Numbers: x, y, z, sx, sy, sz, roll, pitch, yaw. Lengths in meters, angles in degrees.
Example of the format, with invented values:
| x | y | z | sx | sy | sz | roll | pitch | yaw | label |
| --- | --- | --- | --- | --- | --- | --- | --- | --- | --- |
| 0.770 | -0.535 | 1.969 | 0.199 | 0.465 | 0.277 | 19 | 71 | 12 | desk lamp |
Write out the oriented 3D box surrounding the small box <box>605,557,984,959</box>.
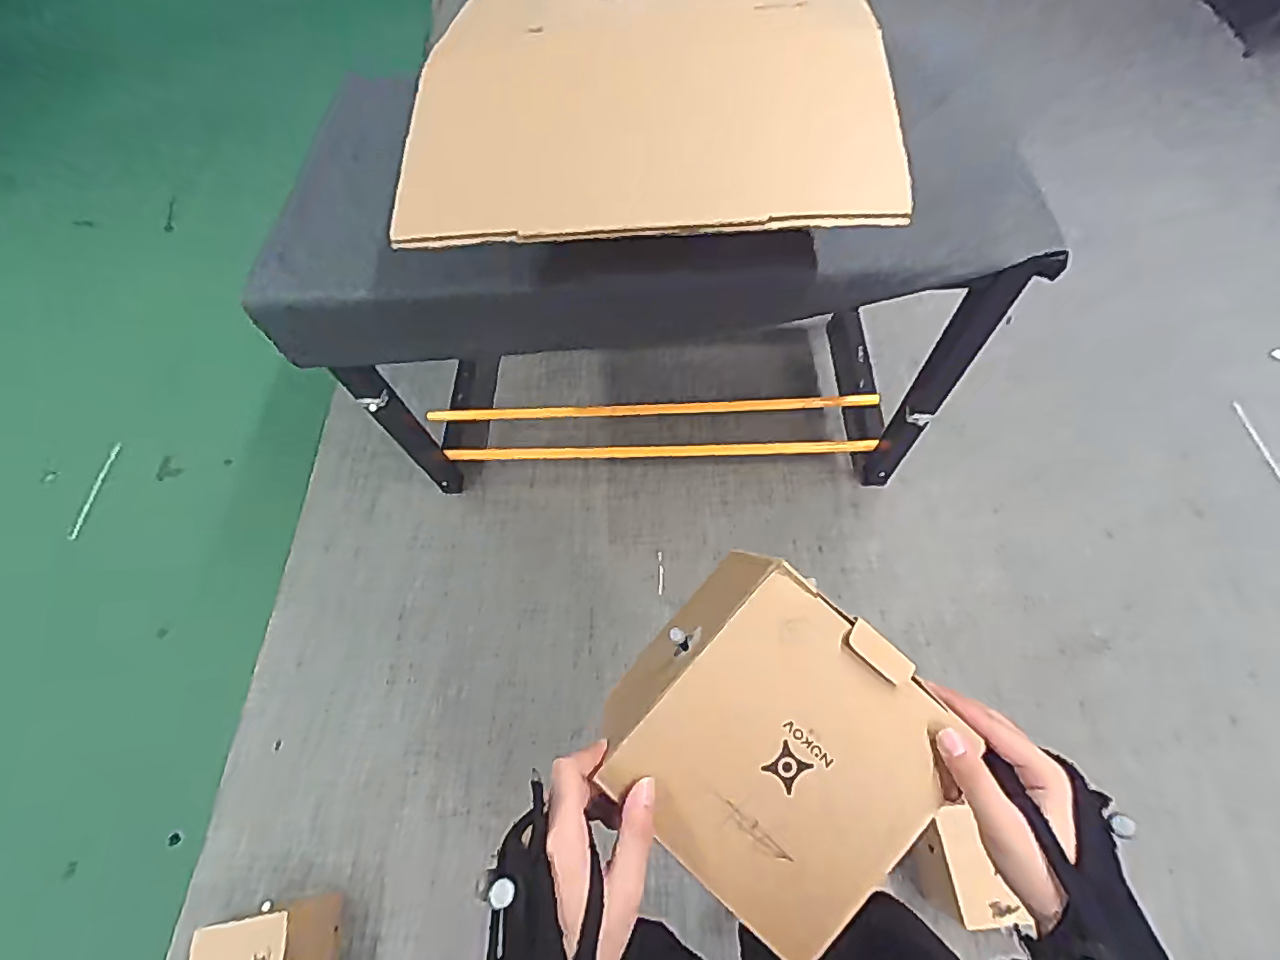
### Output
| x | y | z | sx | sy | sz | roll | pitch | yaw | label |
| --- | --- | --- | --- | --- | --- | --- | --- | --- | --- |
| 0.092 | 0.171 | 0.404 | 0.168 | 0.176 | 0.179 | 42 | 86 | 5 | small box |

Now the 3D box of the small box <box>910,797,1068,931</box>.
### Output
| x | y | z | sx | sy | sz | roll | pitch | yaw | label |
| --- | --- | --- | --- | --- | --- | --- | --- | --- | --- |
| 0.602 | 0.677 | 0.973 | 0.168 | 0.176 | 0.179 | -7 | 62 | 2 | small box |

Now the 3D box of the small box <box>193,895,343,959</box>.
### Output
| x | y | z | sx | sy | sz | roll | pitch | yaw | label |
| --- | --- | --- | --- | --- | --- | --- | --- | --- | --- |
| -0.674 | 0.886 | 0.986 | 0.179 | 0.176 | 0.168 | -11 | 62 | 1 | small box |
